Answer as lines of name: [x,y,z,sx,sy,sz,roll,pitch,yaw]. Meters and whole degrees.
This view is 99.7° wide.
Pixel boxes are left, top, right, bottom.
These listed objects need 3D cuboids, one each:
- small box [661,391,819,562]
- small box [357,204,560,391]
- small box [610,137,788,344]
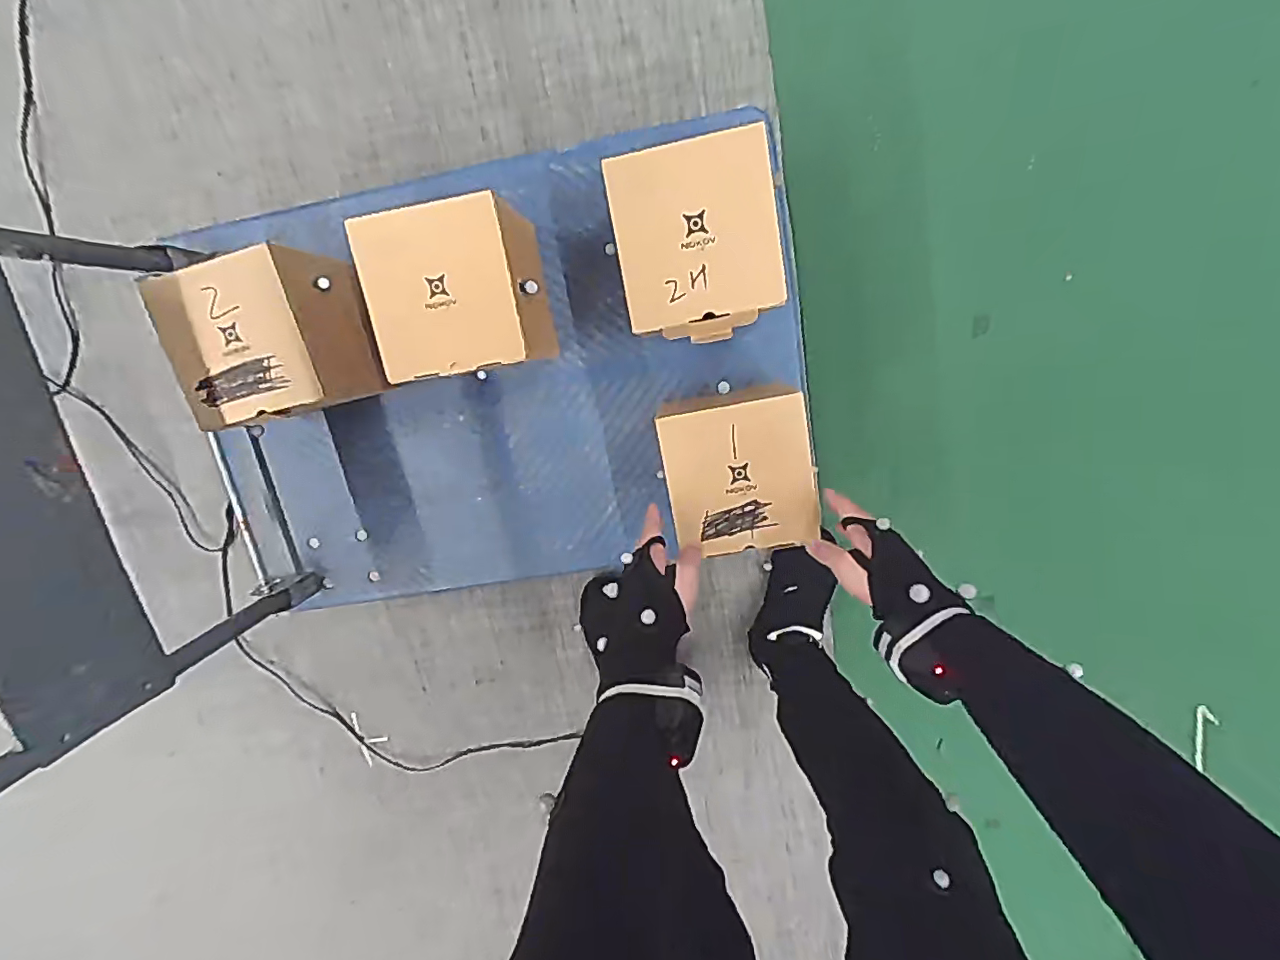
small box: [0.124,-0.012,0.709,0.168,0.176,0.179,-10,102,5]
small box: [-0.207,-0.214,0.668,0.168,0.176,0.179,-9,104,5]
small box: [0.067,-0.262,0.636,0.168,0.176,0.179,-9,103,7]
